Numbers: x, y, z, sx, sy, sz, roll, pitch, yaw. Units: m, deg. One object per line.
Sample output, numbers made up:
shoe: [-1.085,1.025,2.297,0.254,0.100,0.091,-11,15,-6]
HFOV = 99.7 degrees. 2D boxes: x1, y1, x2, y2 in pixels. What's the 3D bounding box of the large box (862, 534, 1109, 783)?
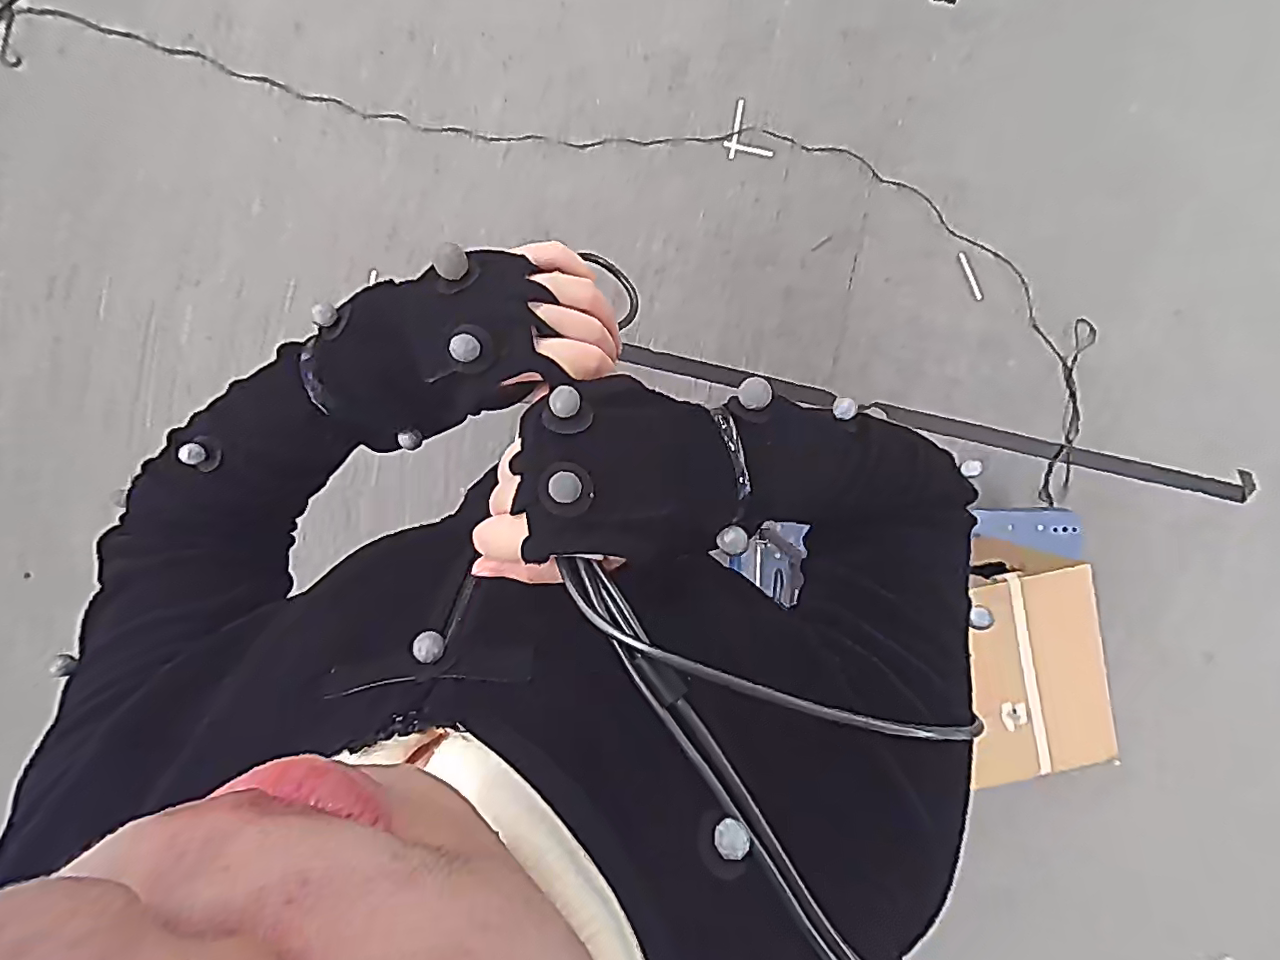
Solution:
large box: [0.741,0.367,1.207,0.320,0.320,0.408,-12,95,0]
